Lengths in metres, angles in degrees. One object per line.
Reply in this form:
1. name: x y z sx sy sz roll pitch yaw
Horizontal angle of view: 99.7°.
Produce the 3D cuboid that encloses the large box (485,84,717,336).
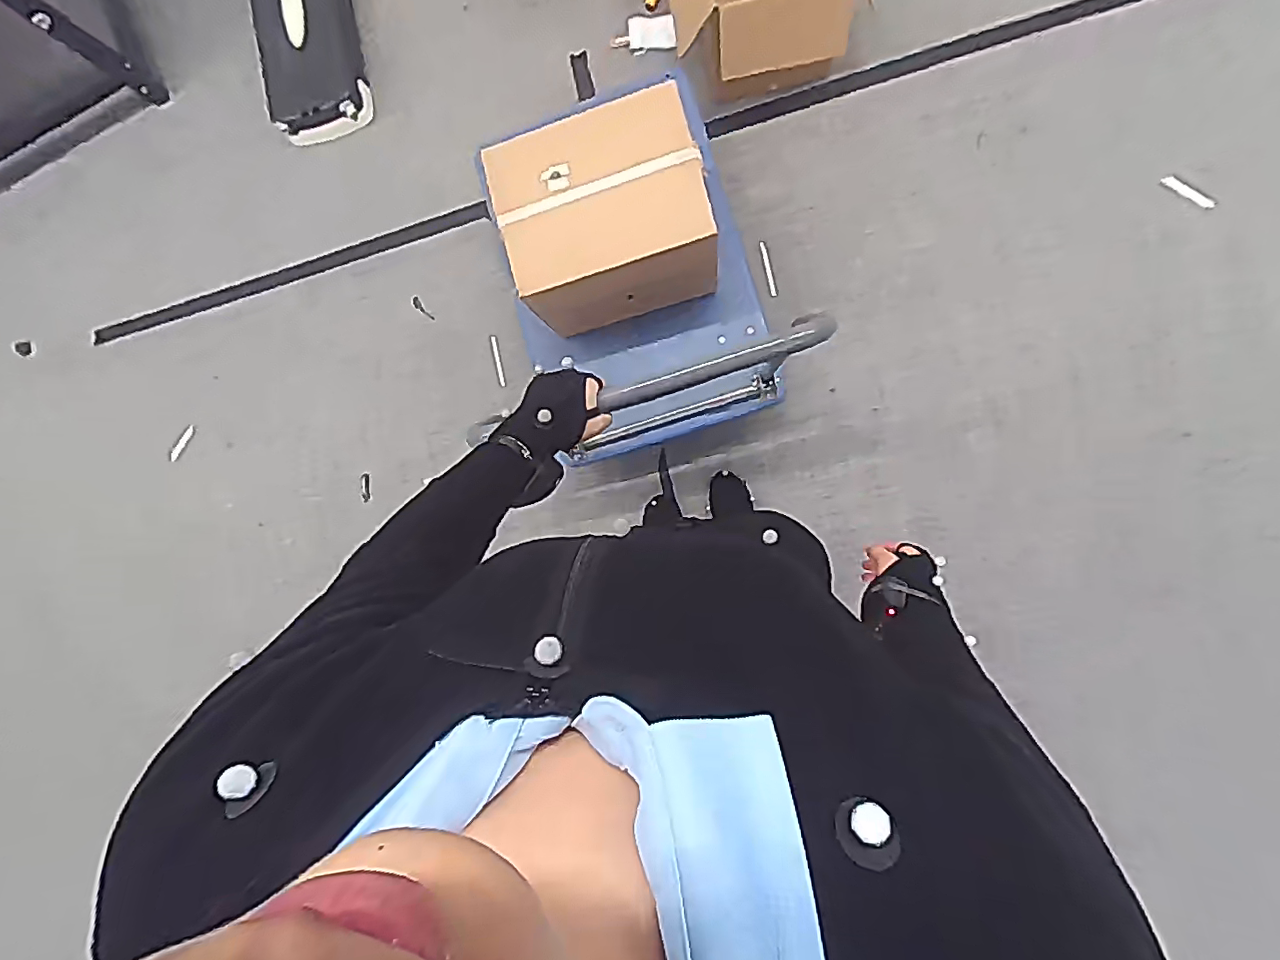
1. large box: -0.063 -0.561 1.203 0.408 0.320 0.320 -16 86 9
